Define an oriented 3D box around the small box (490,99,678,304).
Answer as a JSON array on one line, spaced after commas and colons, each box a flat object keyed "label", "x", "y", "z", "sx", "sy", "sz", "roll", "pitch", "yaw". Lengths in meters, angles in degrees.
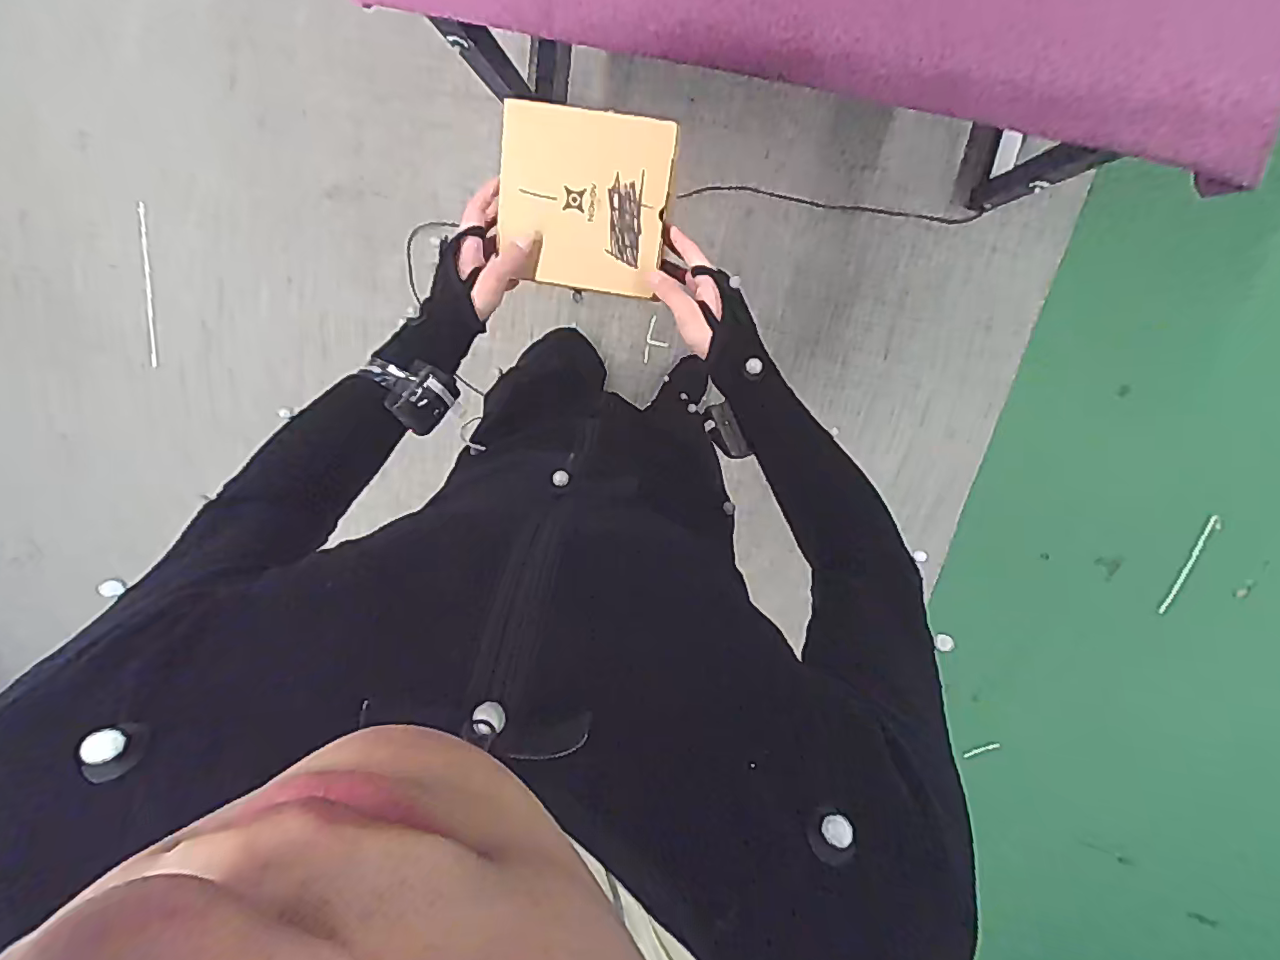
[{"label": "small box", "x": -0.055, "y": -0.301, "z": 0.619, "sx": 0.179, "sy": 0.176, "sz": 0.168, "roll": 10, "pitch": 108, "yaw": 1}]
